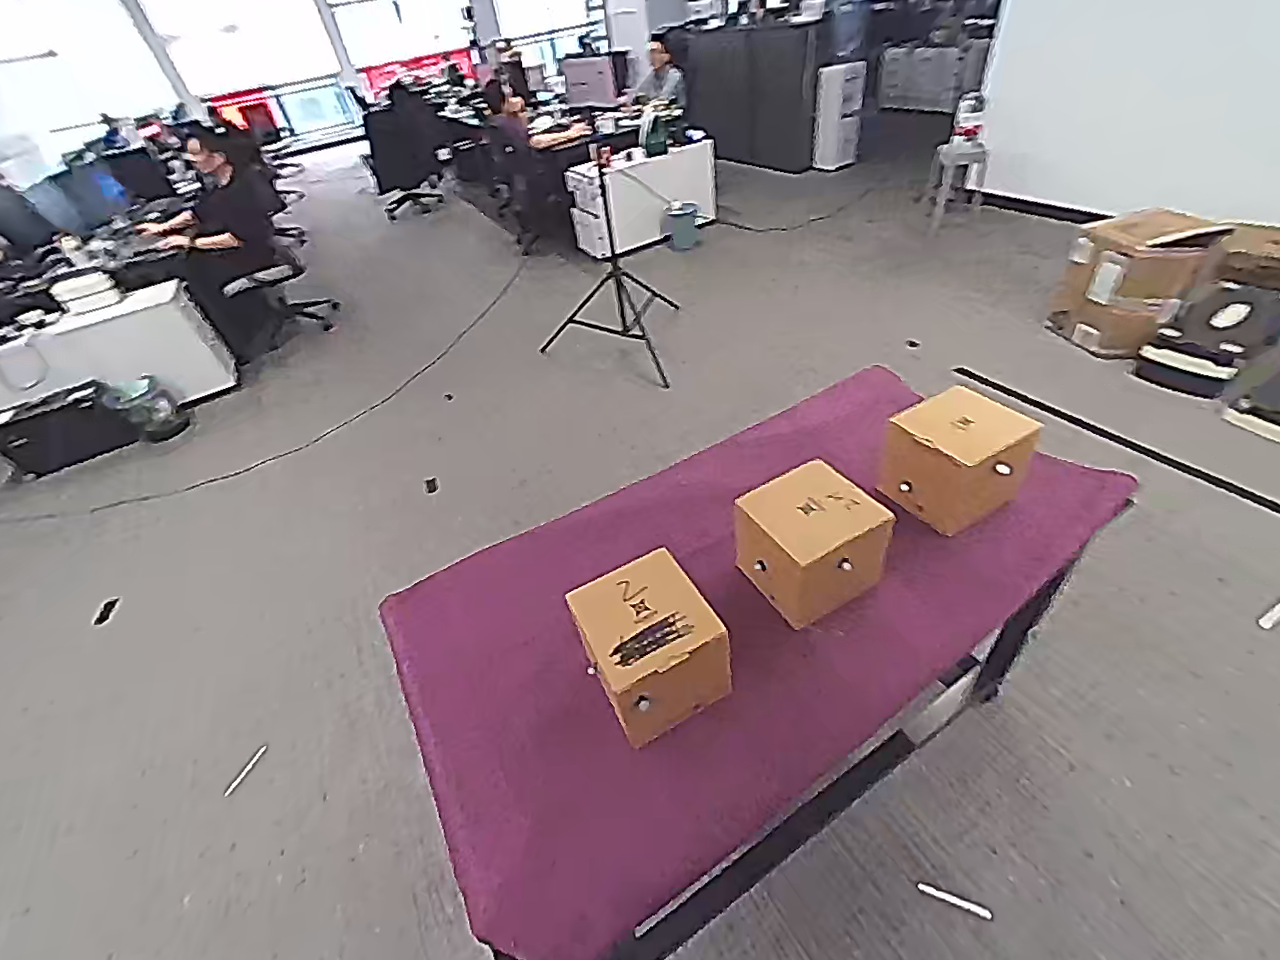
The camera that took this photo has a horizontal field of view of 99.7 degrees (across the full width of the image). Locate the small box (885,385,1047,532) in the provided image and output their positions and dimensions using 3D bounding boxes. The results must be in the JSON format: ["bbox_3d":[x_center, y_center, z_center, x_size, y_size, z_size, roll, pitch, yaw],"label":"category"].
[{"bbox_3d":[0.571,-0.039,0.975,0.179,0.176,0.168,-25,43,-14],"label":"small box"}]

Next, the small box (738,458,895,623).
[{"bbox_3d":[0.279,0.100,0.883,0.179,0.176,0.168,-24,44,-15],"label":"small box"}]
